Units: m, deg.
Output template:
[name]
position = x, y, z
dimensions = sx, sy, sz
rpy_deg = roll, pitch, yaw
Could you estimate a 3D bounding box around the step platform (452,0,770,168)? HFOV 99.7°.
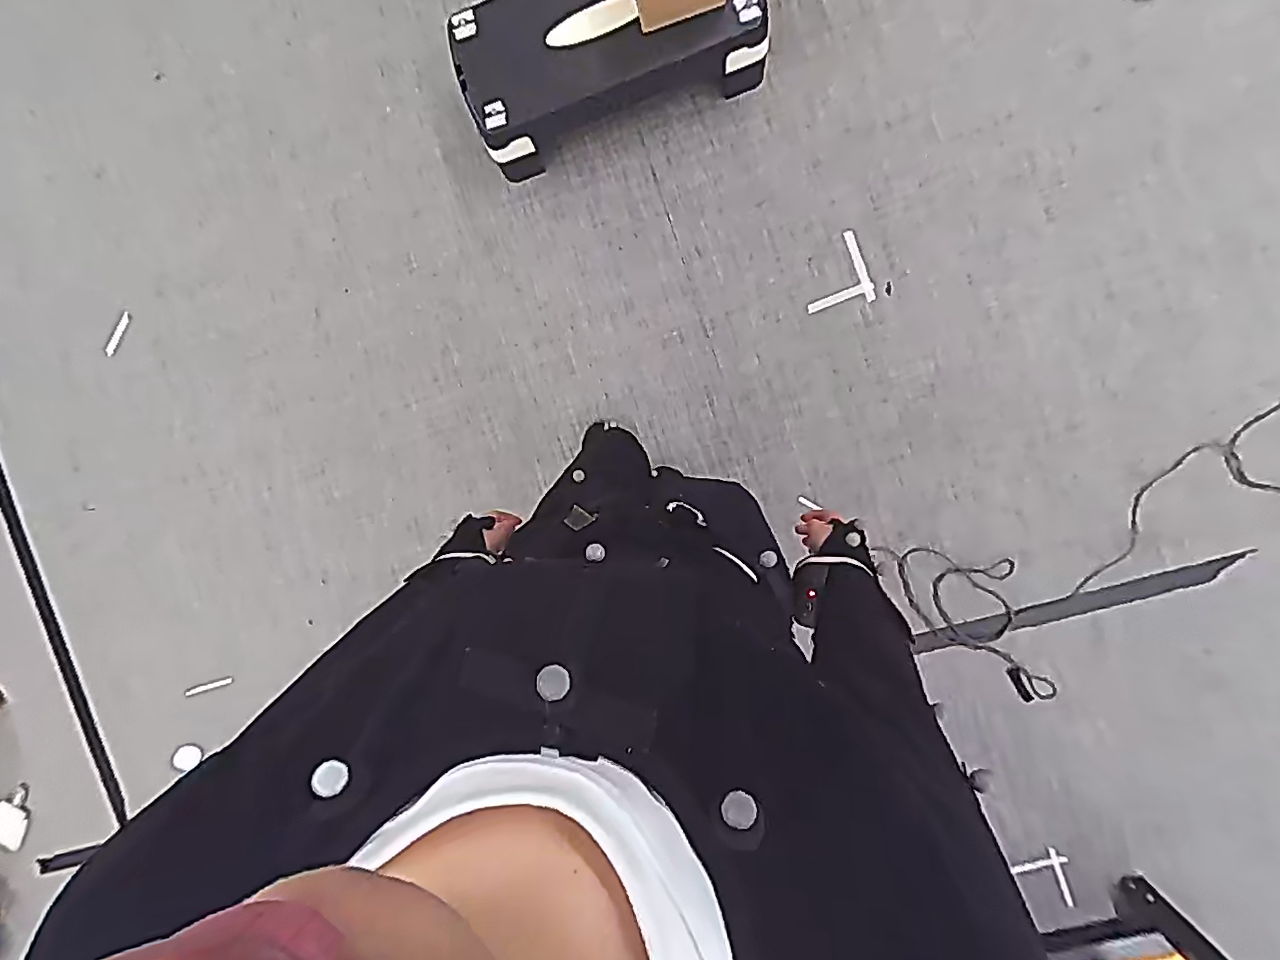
[step platform]
position = -0.064, -0.987, 1.210
dimensions = 0.684, 0.204, 0.286
rpy_deg = -18, 91, 7
